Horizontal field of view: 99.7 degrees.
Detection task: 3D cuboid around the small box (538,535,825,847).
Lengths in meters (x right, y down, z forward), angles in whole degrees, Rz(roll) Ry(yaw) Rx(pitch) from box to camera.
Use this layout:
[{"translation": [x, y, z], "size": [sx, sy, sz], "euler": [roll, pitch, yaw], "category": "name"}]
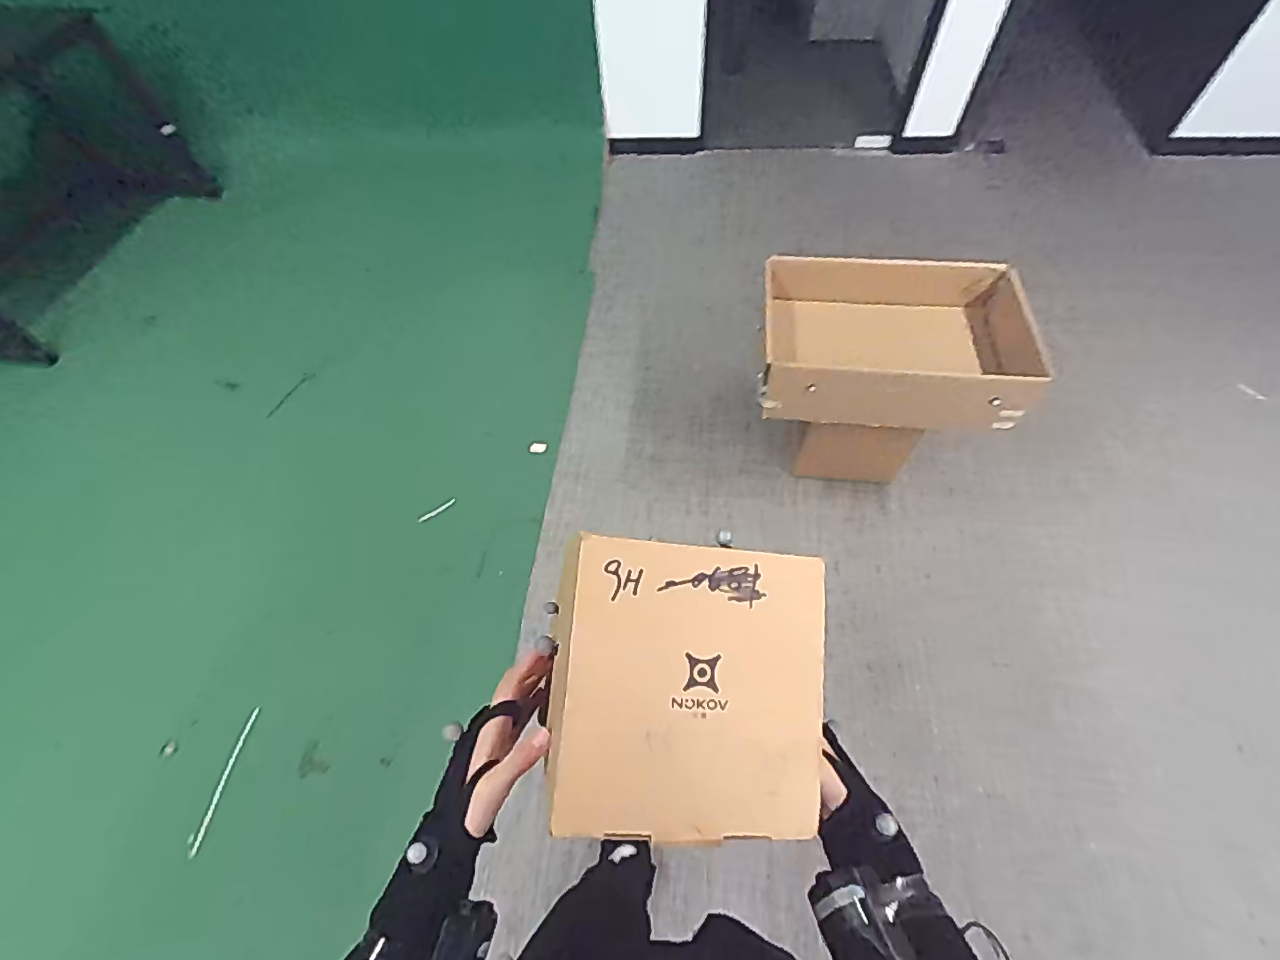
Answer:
[{"translation": [0.018, 0.139, 0.409], "size": [0.168, 0.176, 0.179], "euler": [8, 81, -9], "category": "small box"}]
